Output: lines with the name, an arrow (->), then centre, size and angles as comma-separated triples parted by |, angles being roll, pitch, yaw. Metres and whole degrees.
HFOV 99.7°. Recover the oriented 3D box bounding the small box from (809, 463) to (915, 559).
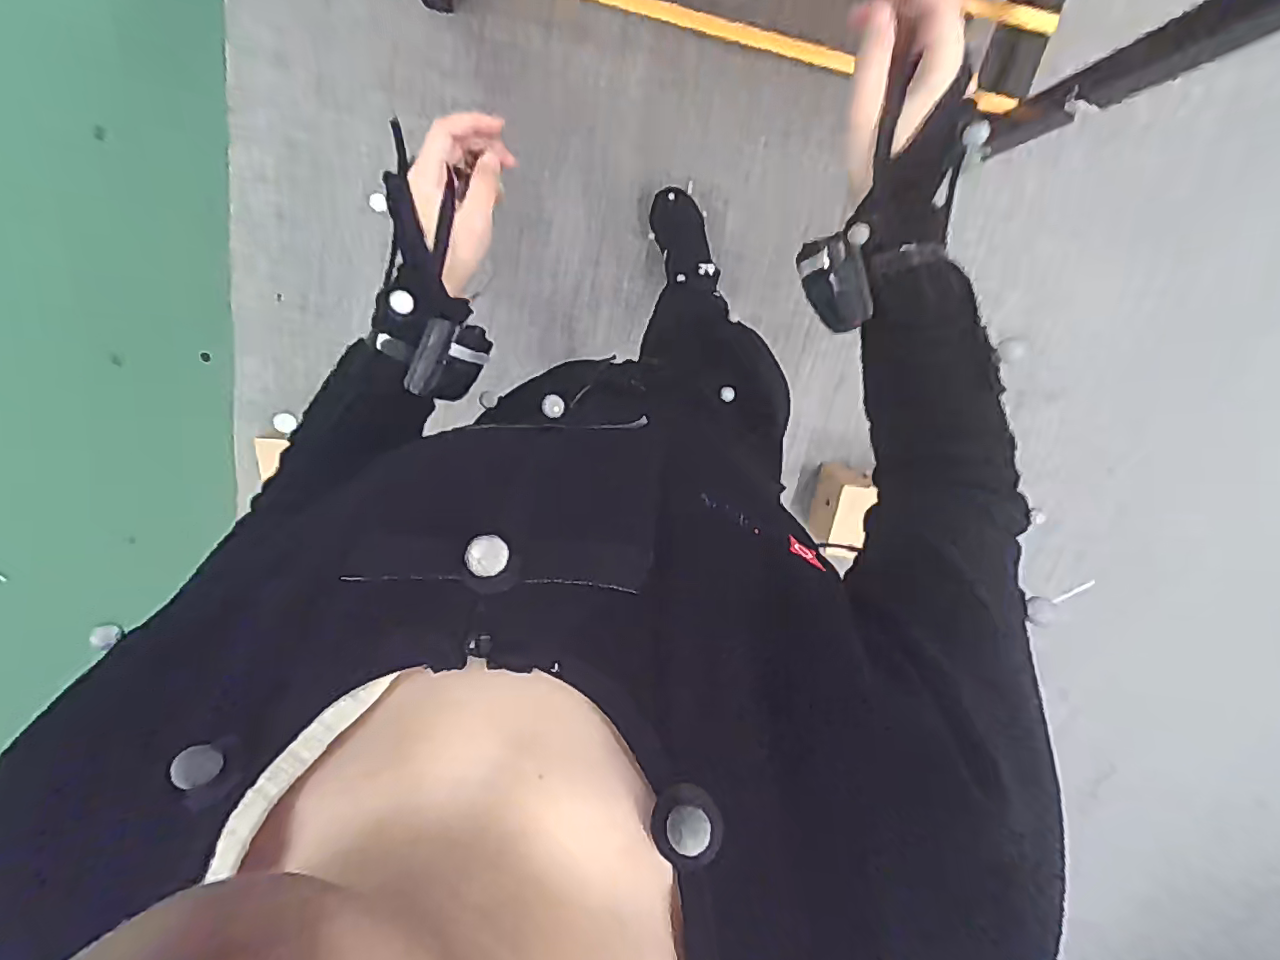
small box -> 0.521, 0.066, 1.296 | 0.168, 0.176, 0.179 | 7, 108, -1
